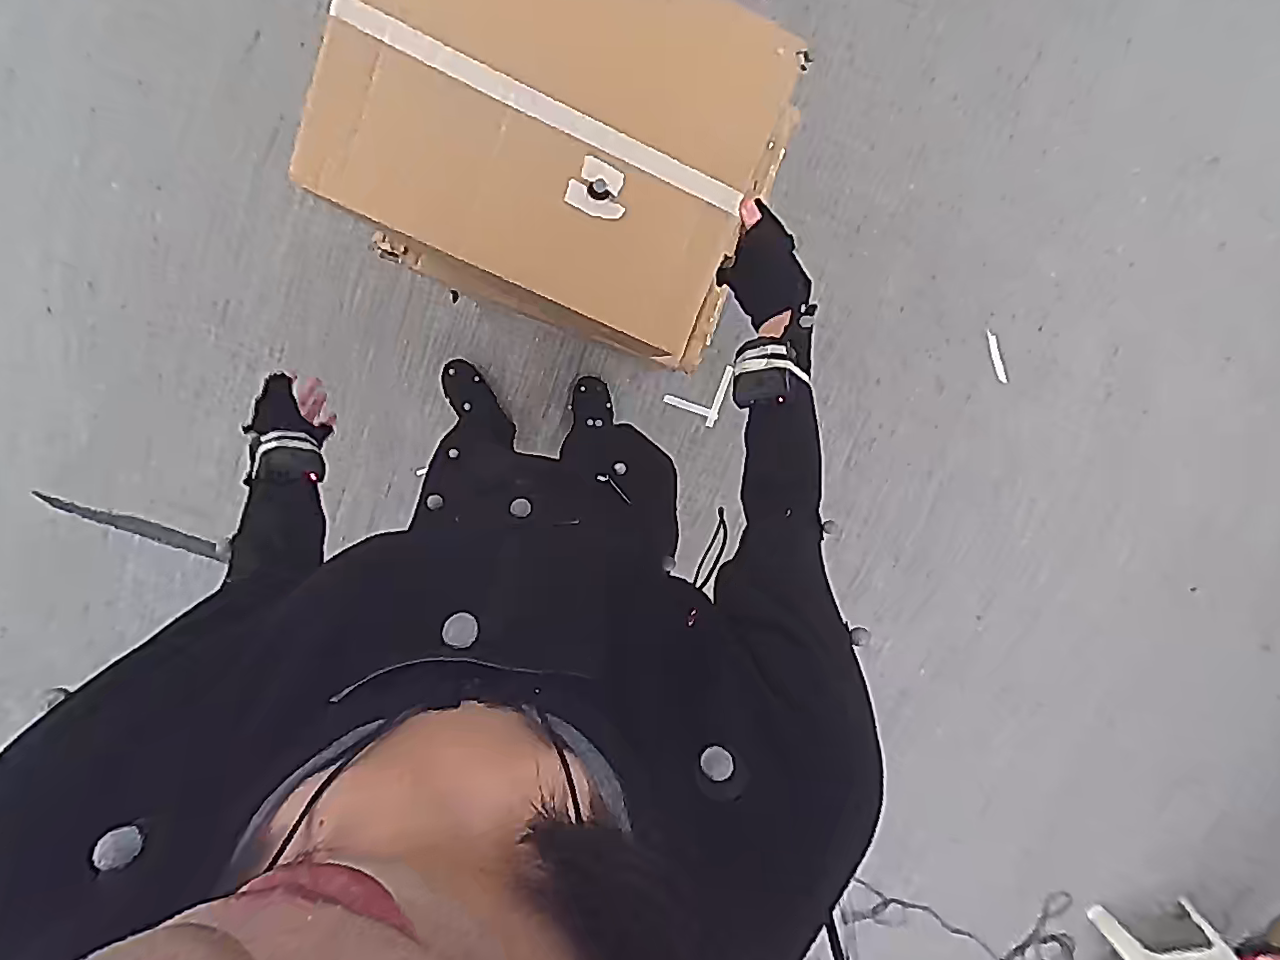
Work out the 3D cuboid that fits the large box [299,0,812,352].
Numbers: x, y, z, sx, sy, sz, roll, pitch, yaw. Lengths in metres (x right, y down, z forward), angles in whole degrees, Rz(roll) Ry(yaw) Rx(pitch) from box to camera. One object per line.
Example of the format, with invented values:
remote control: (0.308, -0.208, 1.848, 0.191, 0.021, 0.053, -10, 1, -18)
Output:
large box: (-0.090, -0.374, 0.644, 0.408, 0.320, 0.320, 22, 101, -9)
